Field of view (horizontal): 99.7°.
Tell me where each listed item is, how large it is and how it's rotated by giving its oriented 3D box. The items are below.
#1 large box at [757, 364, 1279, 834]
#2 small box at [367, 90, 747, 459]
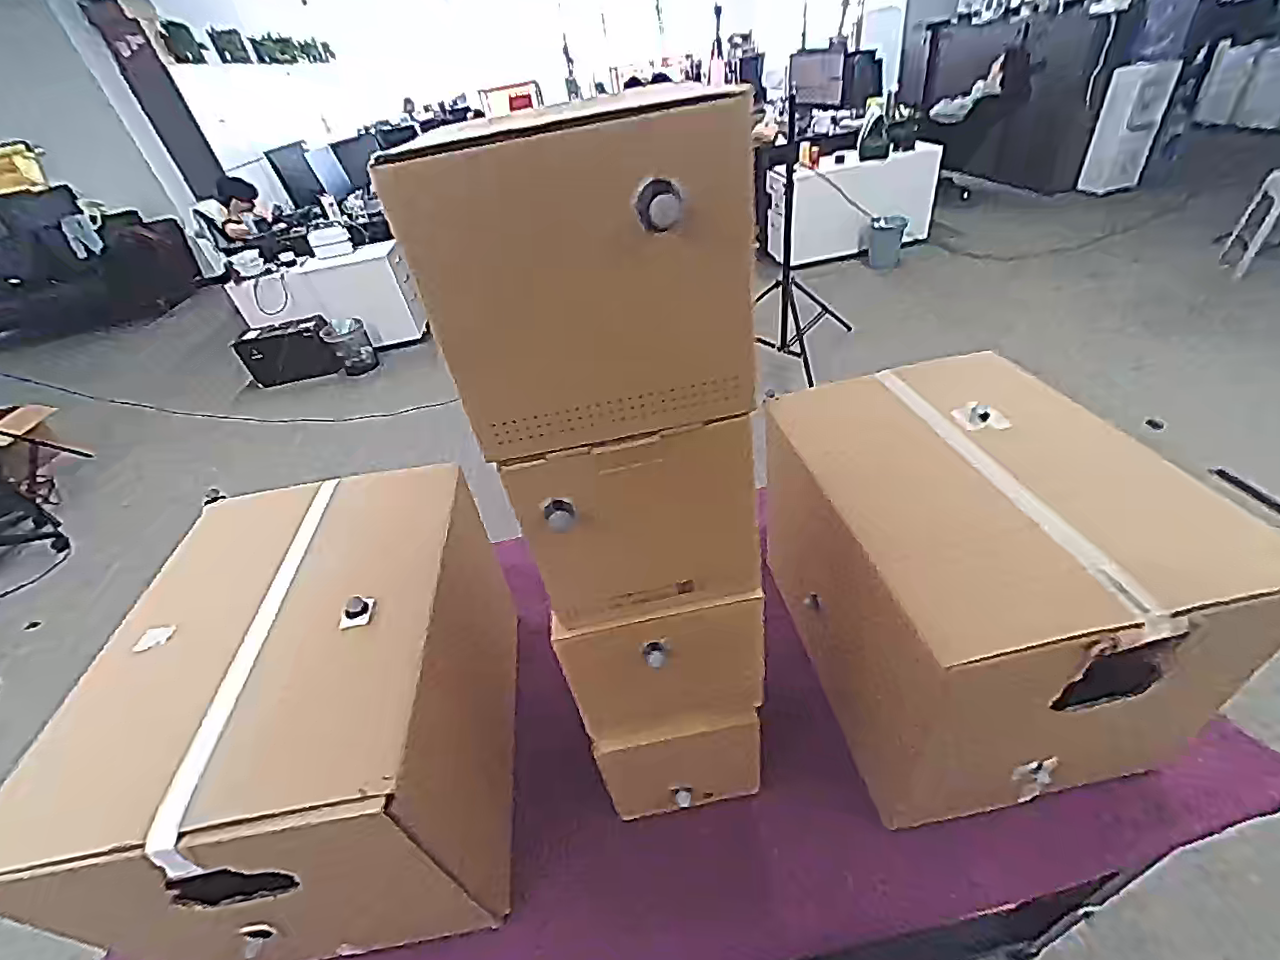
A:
[{"bbox_3d":[0.355,0.112,0.640,0.320,0.320,0.408,-12,37,-2],"label":"large box"},{"bbox_3d":[-0.035,-0.136,0.353,0.179,0.176,0.168,-11,36,0],"label":"small box"}]
